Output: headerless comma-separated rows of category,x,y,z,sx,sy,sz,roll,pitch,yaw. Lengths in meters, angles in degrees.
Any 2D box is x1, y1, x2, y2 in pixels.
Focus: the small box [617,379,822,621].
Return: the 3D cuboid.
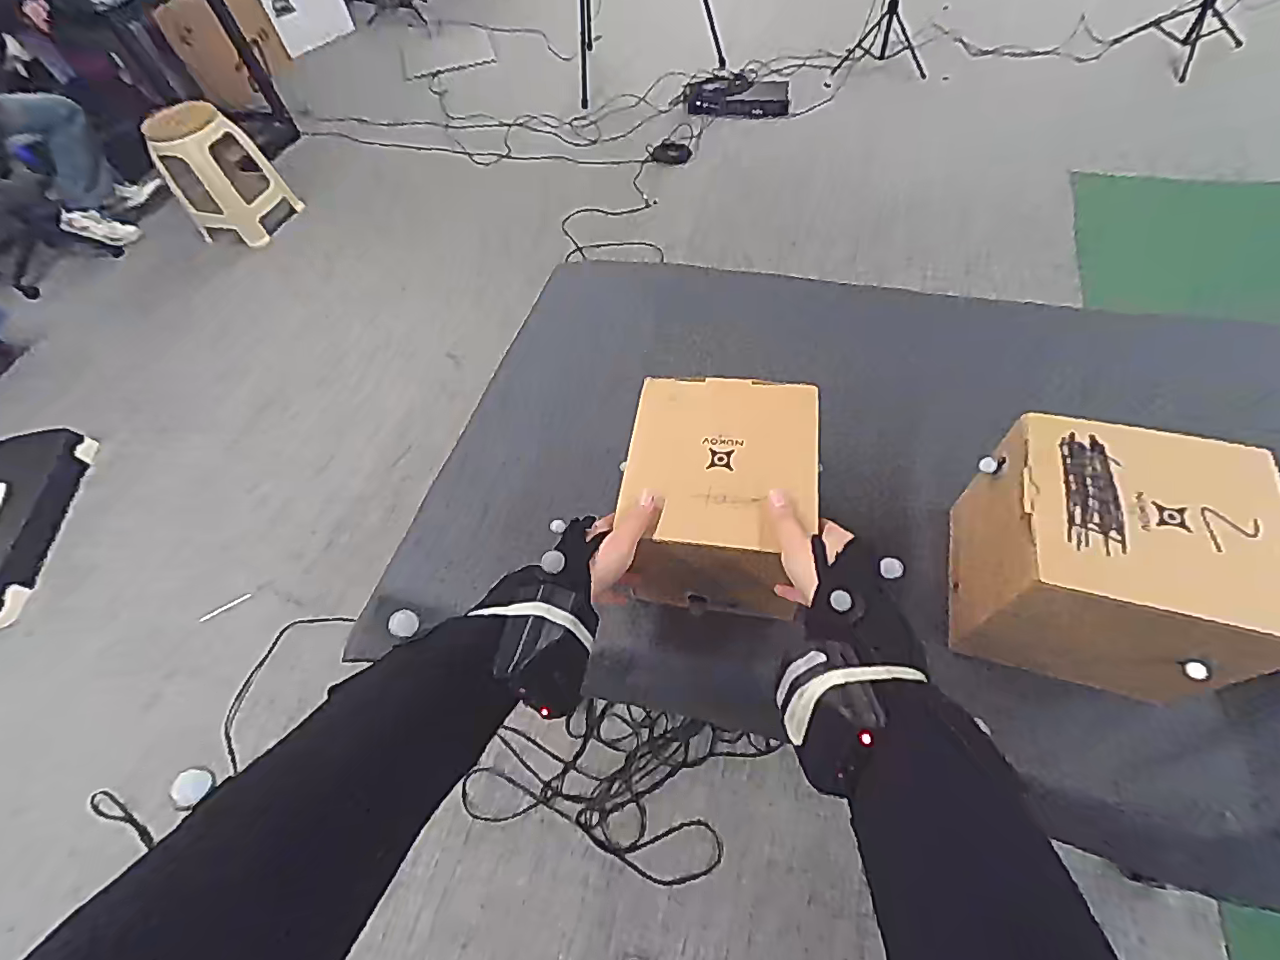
small box,0.083,0.023,0.538,0.168,0.176,0.179,4,59,11
